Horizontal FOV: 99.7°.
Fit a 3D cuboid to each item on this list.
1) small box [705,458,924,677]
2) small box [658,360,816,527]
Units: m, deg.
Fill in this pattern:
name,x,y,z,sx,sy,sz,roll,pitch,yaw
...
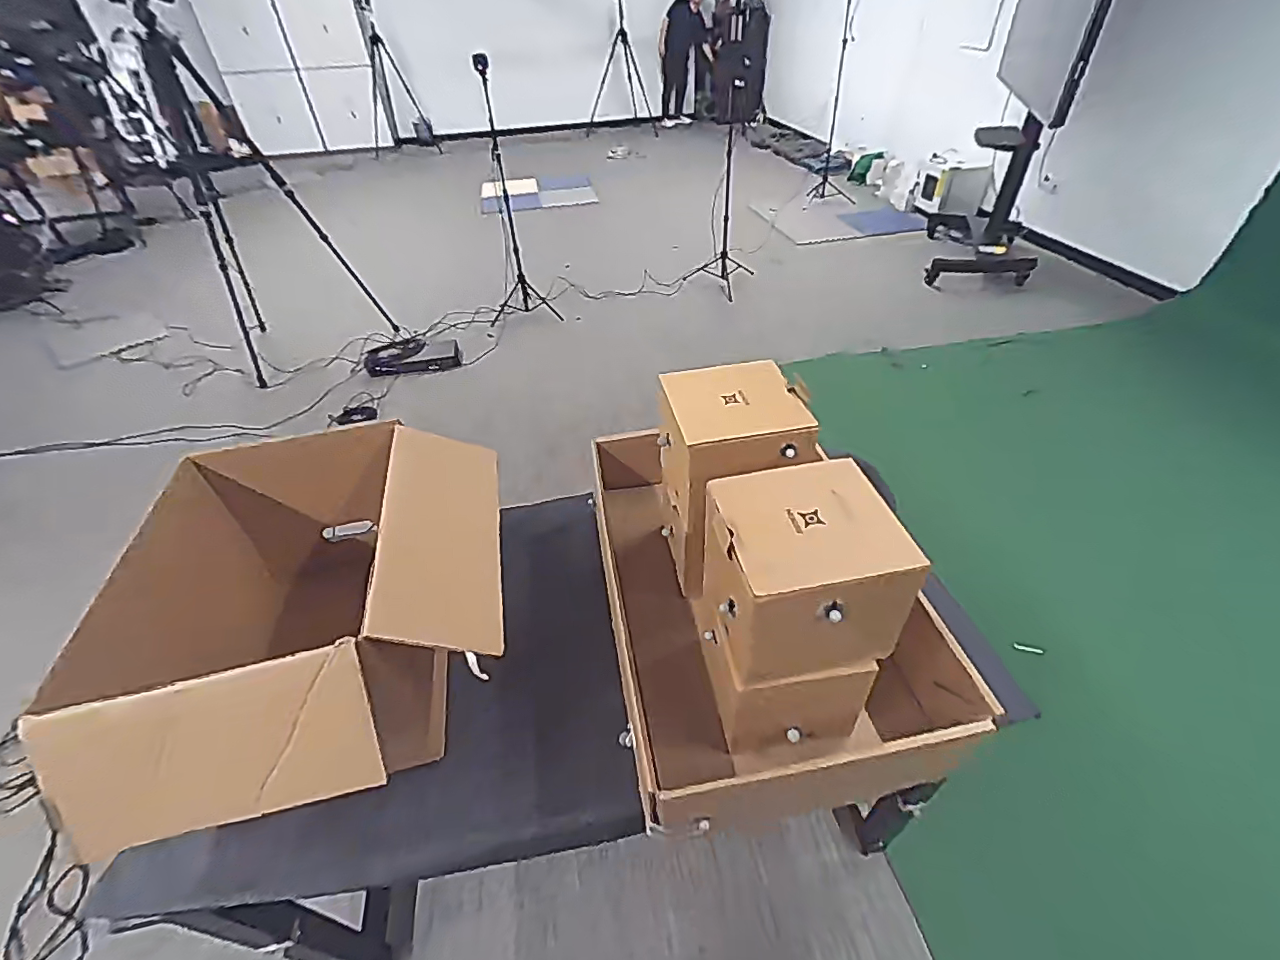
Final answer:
name,x,y,z,sx,sy,sz,roll,pitch,yaw
small box,0.177,0.101,0.613,0.179,0.176,0.168,-9,43,-6
small box,0.128,-0.050,0.785,0.179,0.176,0.168,-9,44,-7
